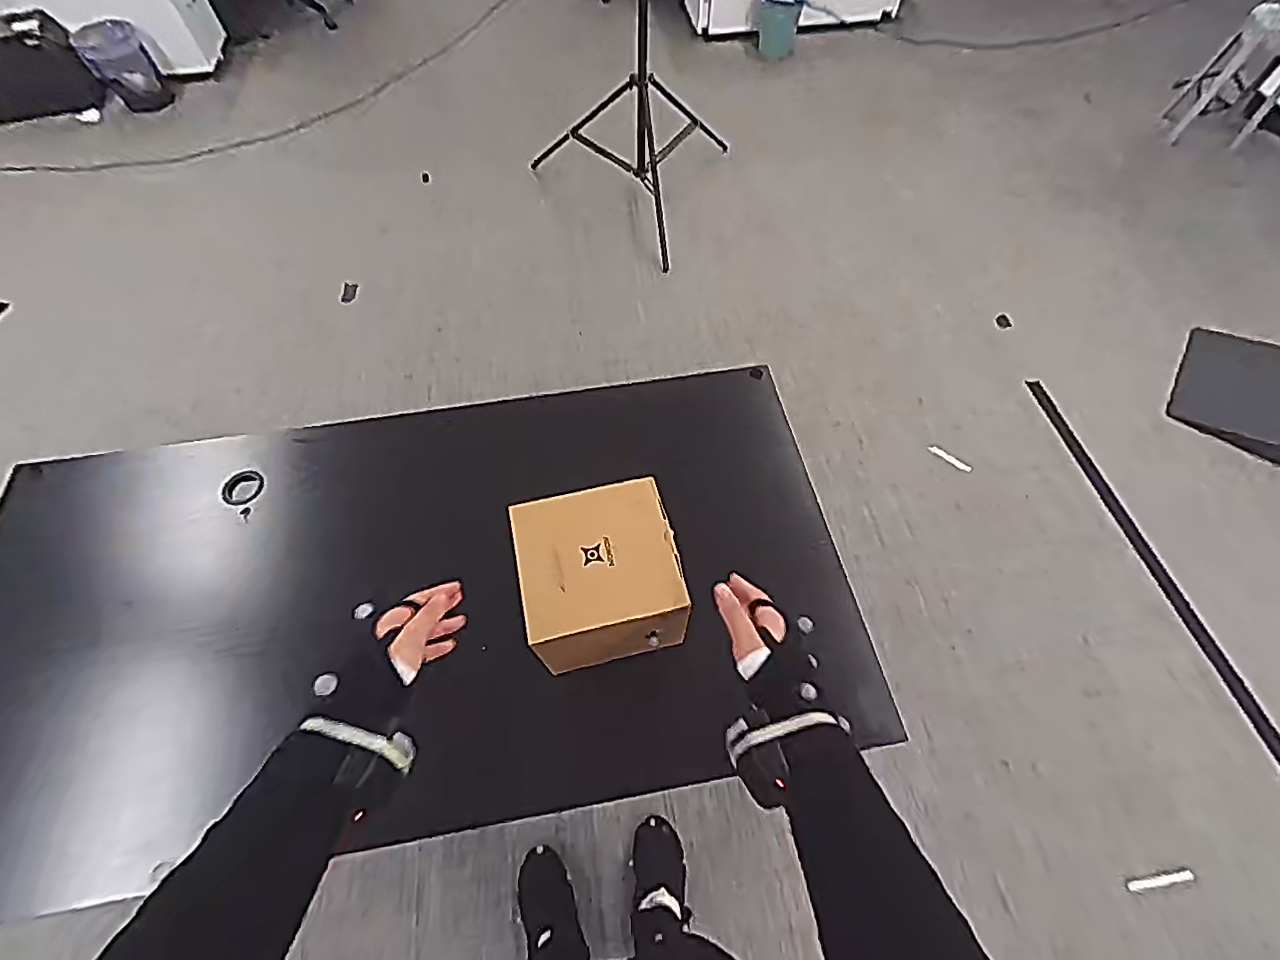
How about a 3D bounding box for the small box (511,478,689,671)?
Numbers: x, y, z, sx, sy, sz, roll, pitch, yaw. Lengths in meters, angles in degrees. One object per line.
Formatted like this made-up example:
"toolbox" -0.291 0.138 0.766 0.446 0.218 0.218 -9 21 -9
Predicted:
"small box" -0.048 0.122 0.672 0.179 0.176 0.168 -13 60 -6
